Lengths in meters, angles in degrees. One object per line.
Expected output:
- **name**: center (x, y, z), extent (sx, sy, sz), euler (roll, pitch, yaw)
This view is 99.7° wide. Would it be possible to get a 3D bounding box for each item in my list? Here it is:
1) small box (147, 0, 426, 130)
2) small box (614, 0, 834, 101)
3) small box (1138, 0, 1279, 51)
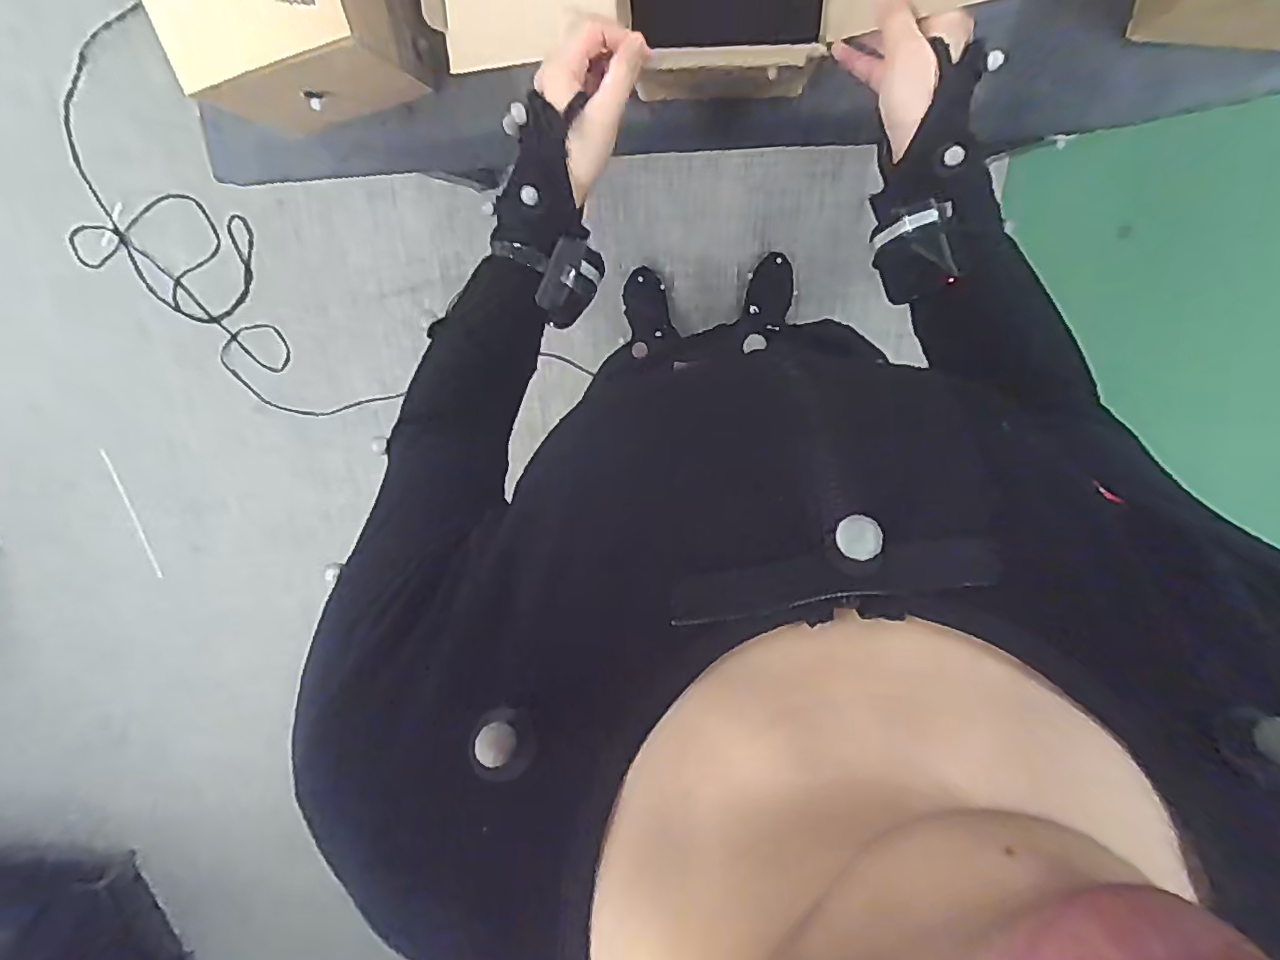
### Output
- **small box**: center (-0.332, -0.463, 0.518), extent (0.179, 0.176, 0.168), euler (-10, 112, 10)
- **small box**: center (0.076, -0.455, 0.482), extent (0.179, 0.176, 0.168), euler (2, 114, 6)
- **small box**: center (0.559, -0.467, 0.420), extent (0.179, 0.176, 0.168), euler (6, 109, 4)
